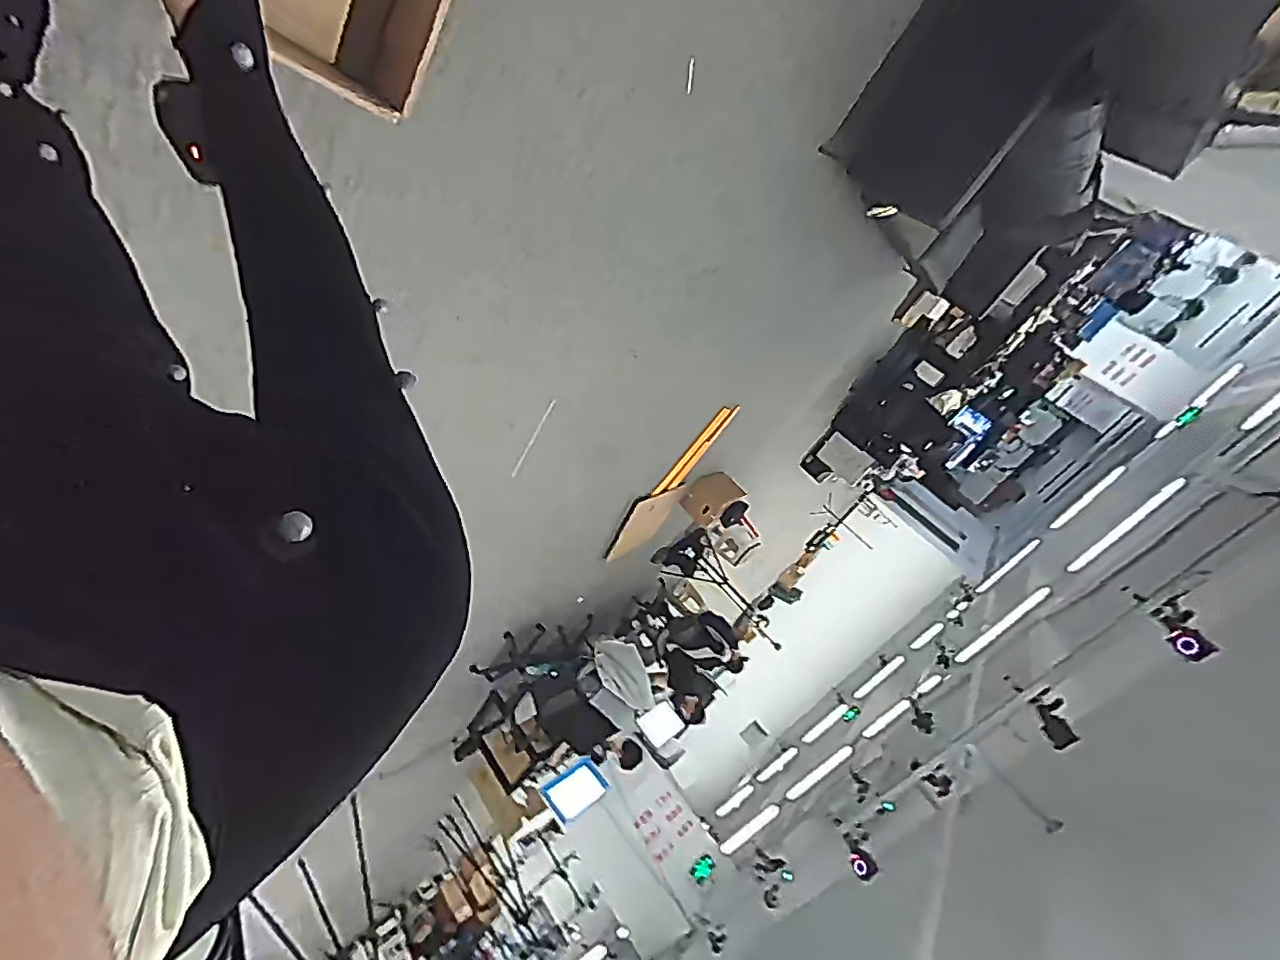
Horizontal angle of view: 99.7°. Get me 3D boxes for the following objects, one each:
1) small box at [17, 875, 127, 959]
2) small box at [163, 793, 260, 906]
[{"bbox_3d":[-1.427,1.143,1.357,0.168,0.176,0.179,-7,137,-54],"label":"small box"},{"bbox_3d":[-1.208,1.028,1.518,0.168,0.176,0.179,-5,135,-55],"label":"small box"}]
